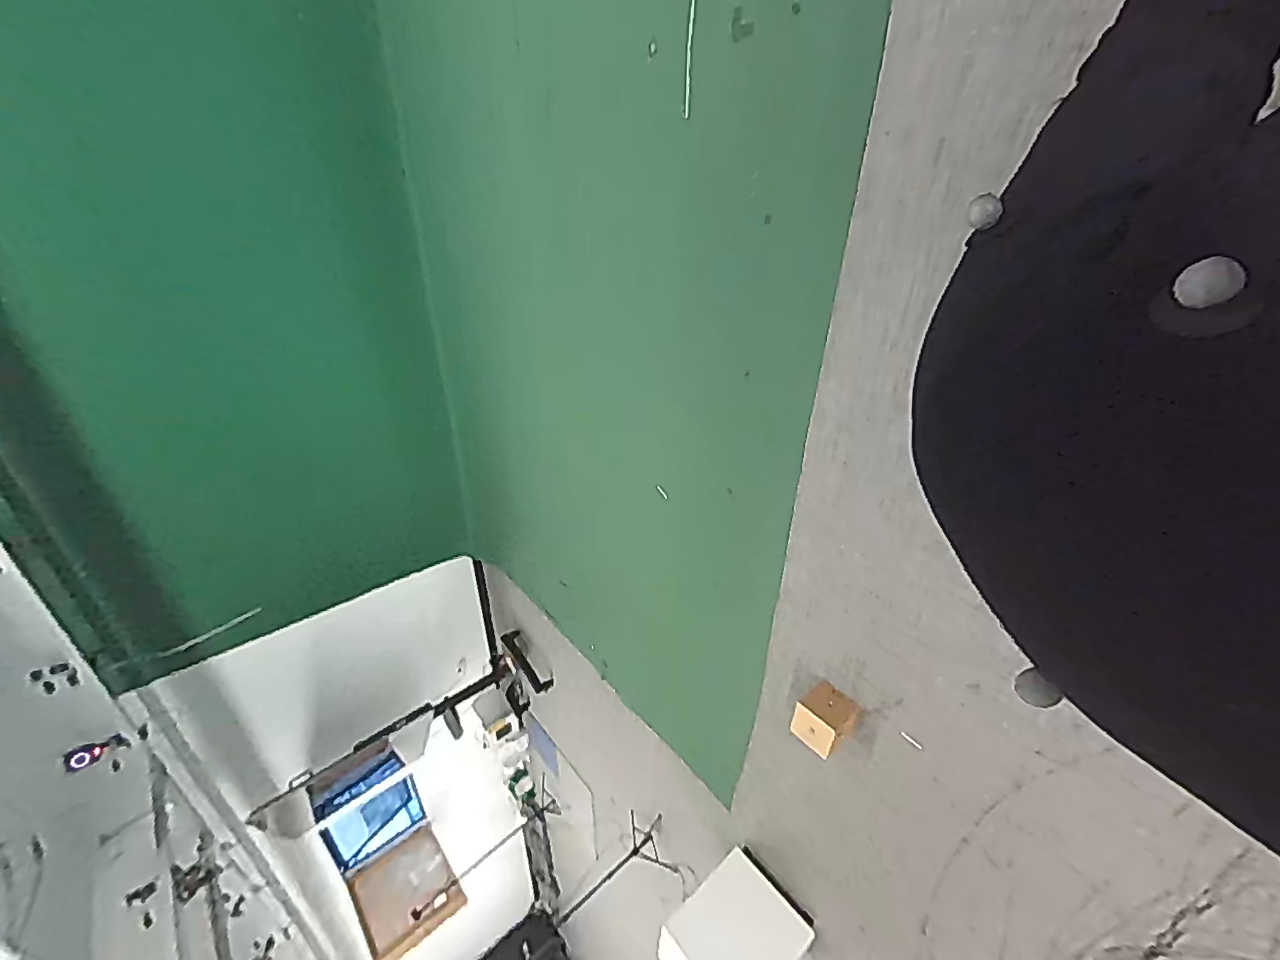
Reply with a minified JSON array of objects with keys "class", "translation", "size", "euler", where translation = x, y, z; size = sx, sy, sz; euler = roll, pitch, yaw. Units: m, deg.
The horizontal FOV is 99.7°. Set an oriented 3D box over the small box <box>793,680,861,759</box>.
[{"class":"small box","translation":[0.712,0.902,2.053],"size":[0.168,0.176,0.179],"euler":[33,133,41]}]
